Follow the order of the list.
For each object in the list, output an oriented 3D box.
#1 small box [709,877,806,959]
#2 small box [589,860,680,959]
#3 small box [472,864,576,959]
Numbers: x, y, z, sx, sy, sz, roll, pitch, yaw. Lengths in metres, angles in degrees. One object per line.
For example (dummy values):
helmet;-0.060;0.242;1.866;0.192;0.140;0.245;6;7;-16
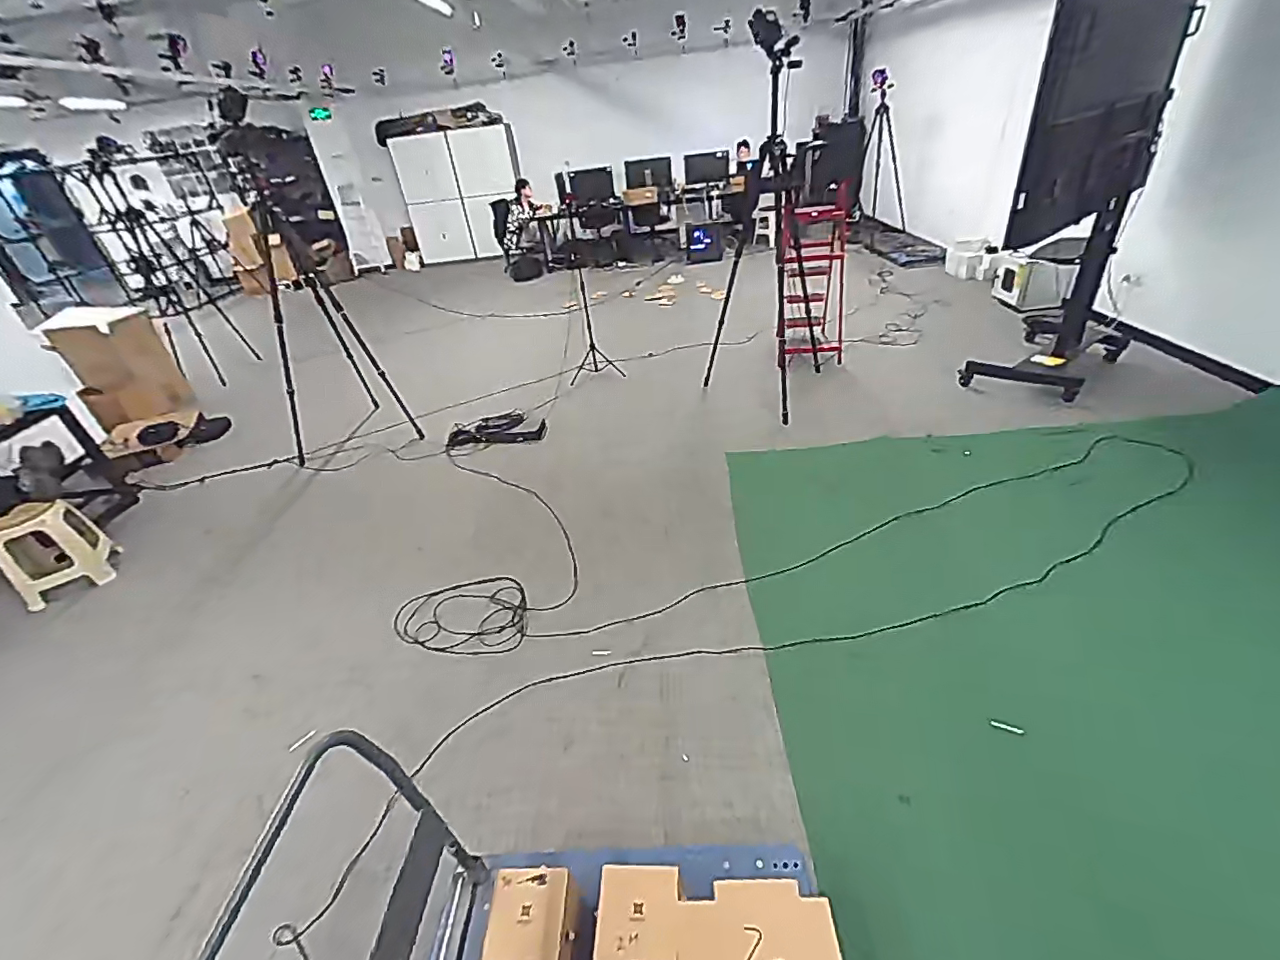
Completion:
small box;0.237;0.943;1.106;0.179;0.176;0.168;-4;34;6
small box;-0.005;0.946;1.149;0.168;0.176;0.179;-3;34;7
small box;-0.240;0.964;1.168;0.168;0.176;0.179;-4;34;5
